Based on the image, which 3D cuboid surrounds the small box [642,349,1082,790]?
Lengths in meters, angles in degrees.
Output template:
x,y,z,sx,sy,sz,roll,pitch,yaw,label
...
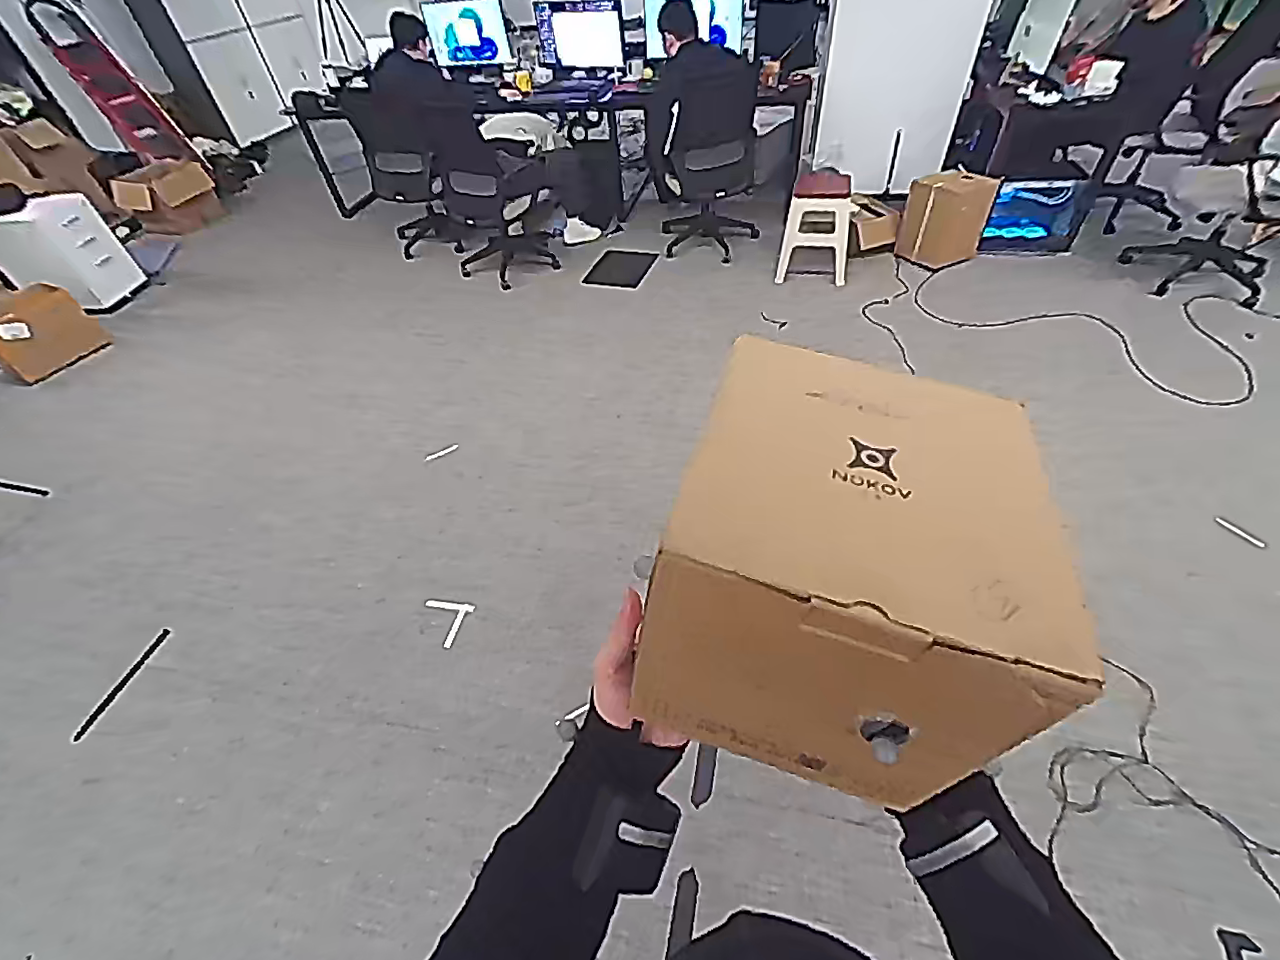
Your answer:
x,y,z,sx,sy,sz,roll,pitch,yaw,label
0.103,0.054,0.324,0.168,0.176,0.179,16,46,7,small box
